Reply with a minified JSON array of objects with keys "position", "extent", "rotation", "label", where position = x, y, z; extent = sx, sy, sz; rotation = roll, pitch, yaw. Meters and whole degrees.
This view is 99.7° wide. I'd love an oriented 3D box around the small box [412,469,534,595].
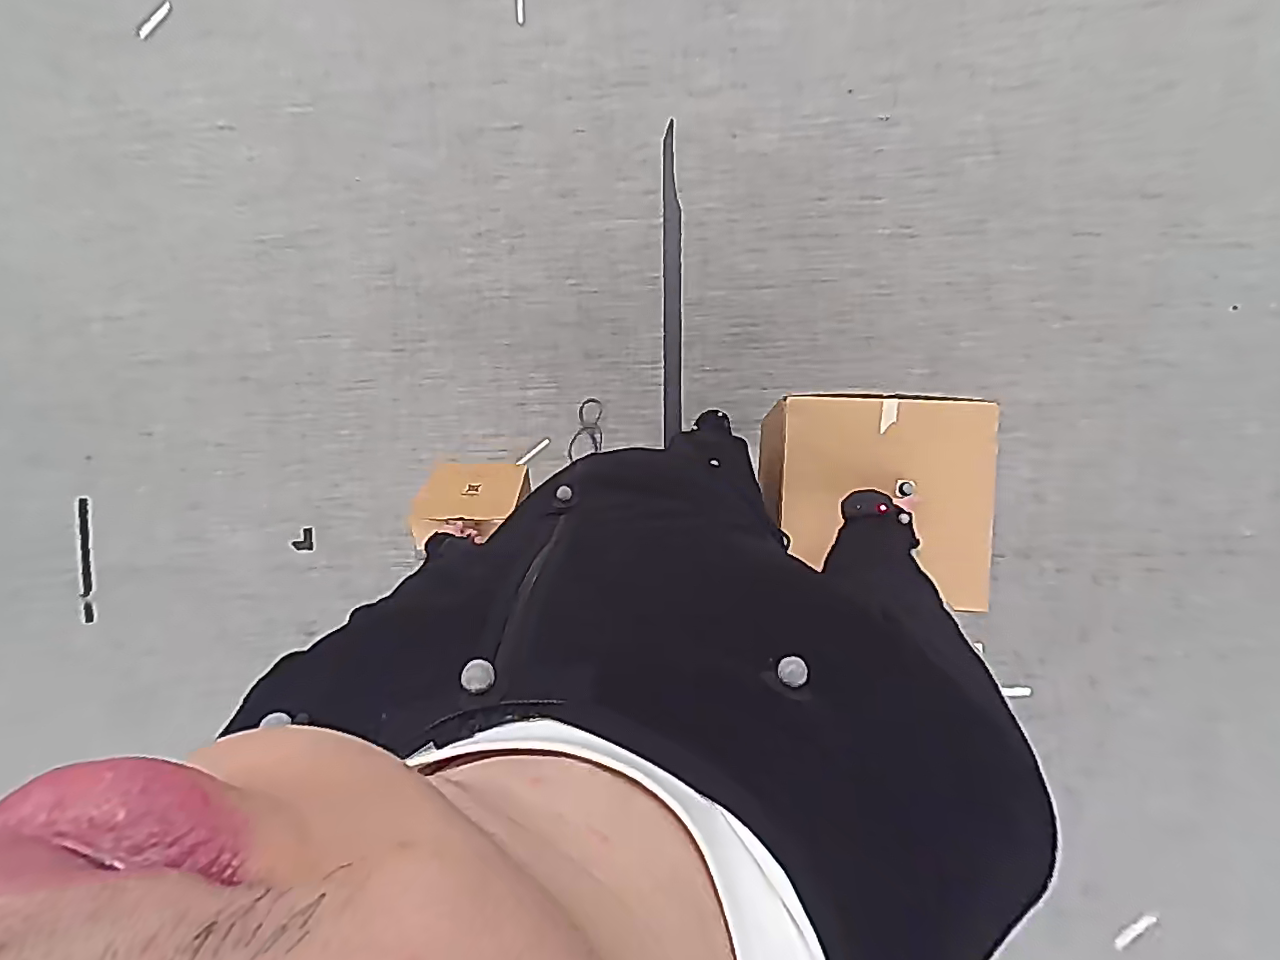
[{"position":[-0.291,0.094,0.987],"extent":[0.168,0.179,0.176],"rotation":[1,122,-2],"label":"small box"}]
